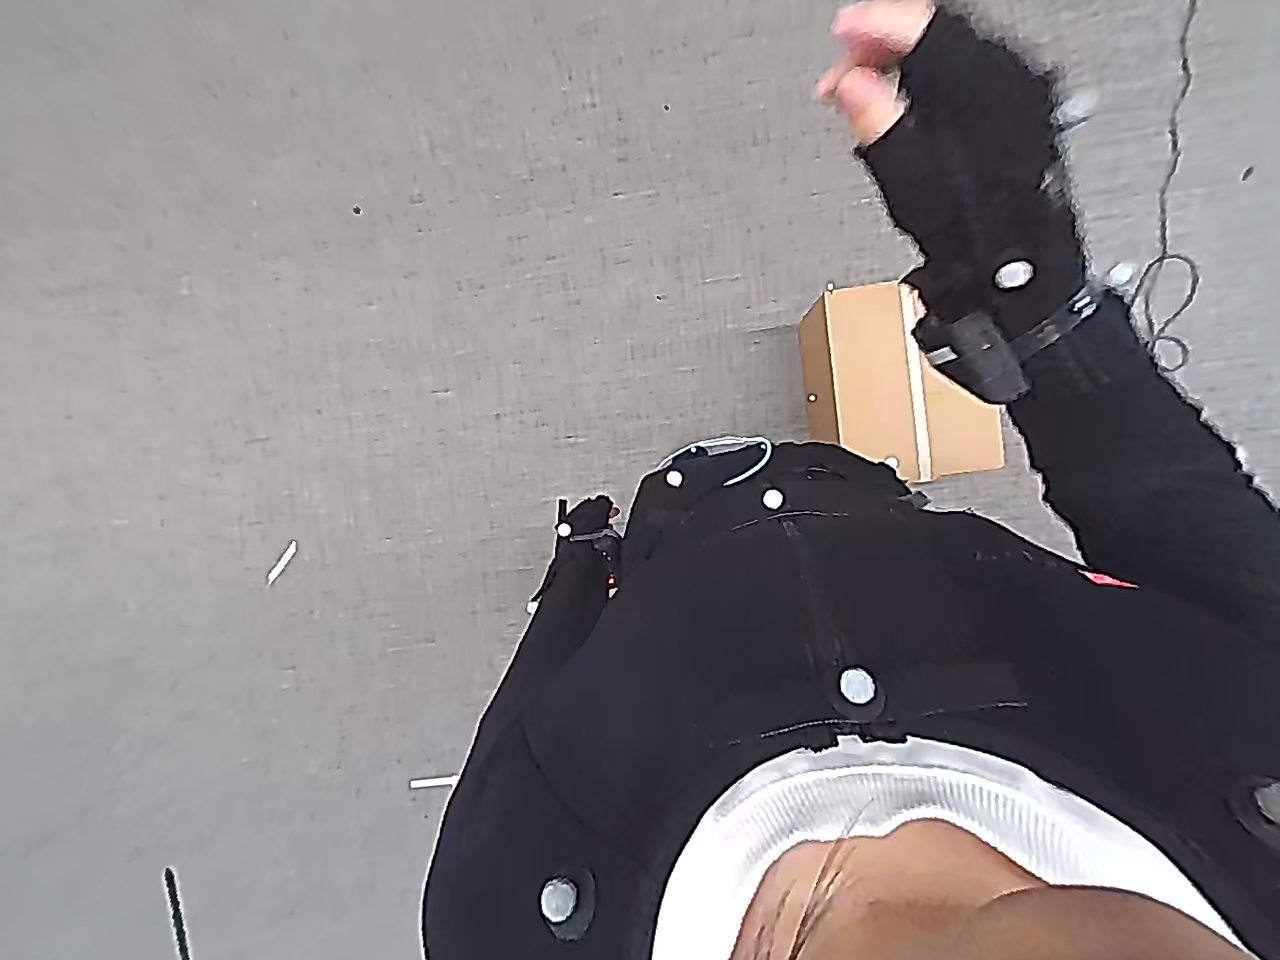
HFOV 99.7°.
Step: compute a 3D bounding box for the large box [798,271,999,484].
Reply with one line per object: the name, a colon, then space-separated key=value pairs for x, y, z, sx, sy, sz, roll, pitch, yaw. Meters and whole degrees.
large box: x=0.571 y=-0.213 z=1.259 sx=0.320 sy=0.320 sz=0.408 roll=-7 pitch=92 yaw=6
